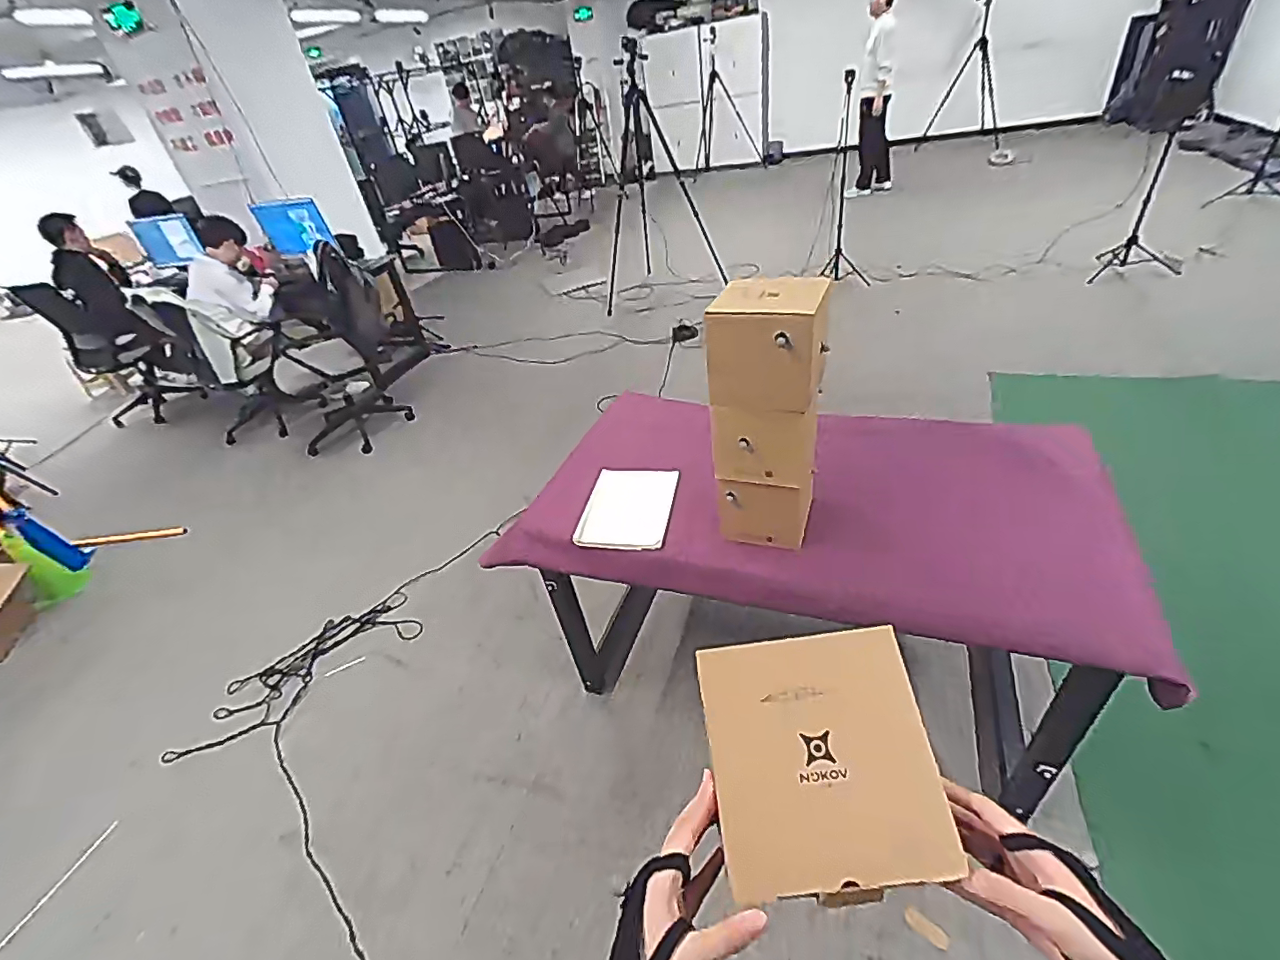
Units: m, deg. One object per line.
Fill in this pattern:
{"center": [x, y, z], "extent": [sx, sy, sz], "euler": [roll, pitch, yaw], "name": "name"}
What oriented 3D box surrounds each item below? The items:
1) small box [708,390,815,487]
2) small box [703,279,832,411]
{"center": [0.239, -0.104, 1.030], "extent": [0.168, 0.176, 0.179], "euler": [7, 39, 23], "name": "small box"}
{"center": [0.221, -0.231, 0.925], "extent": [0.179, 0.176, 0.168], "euler": [9, 39, 24], "name": "small box"}
